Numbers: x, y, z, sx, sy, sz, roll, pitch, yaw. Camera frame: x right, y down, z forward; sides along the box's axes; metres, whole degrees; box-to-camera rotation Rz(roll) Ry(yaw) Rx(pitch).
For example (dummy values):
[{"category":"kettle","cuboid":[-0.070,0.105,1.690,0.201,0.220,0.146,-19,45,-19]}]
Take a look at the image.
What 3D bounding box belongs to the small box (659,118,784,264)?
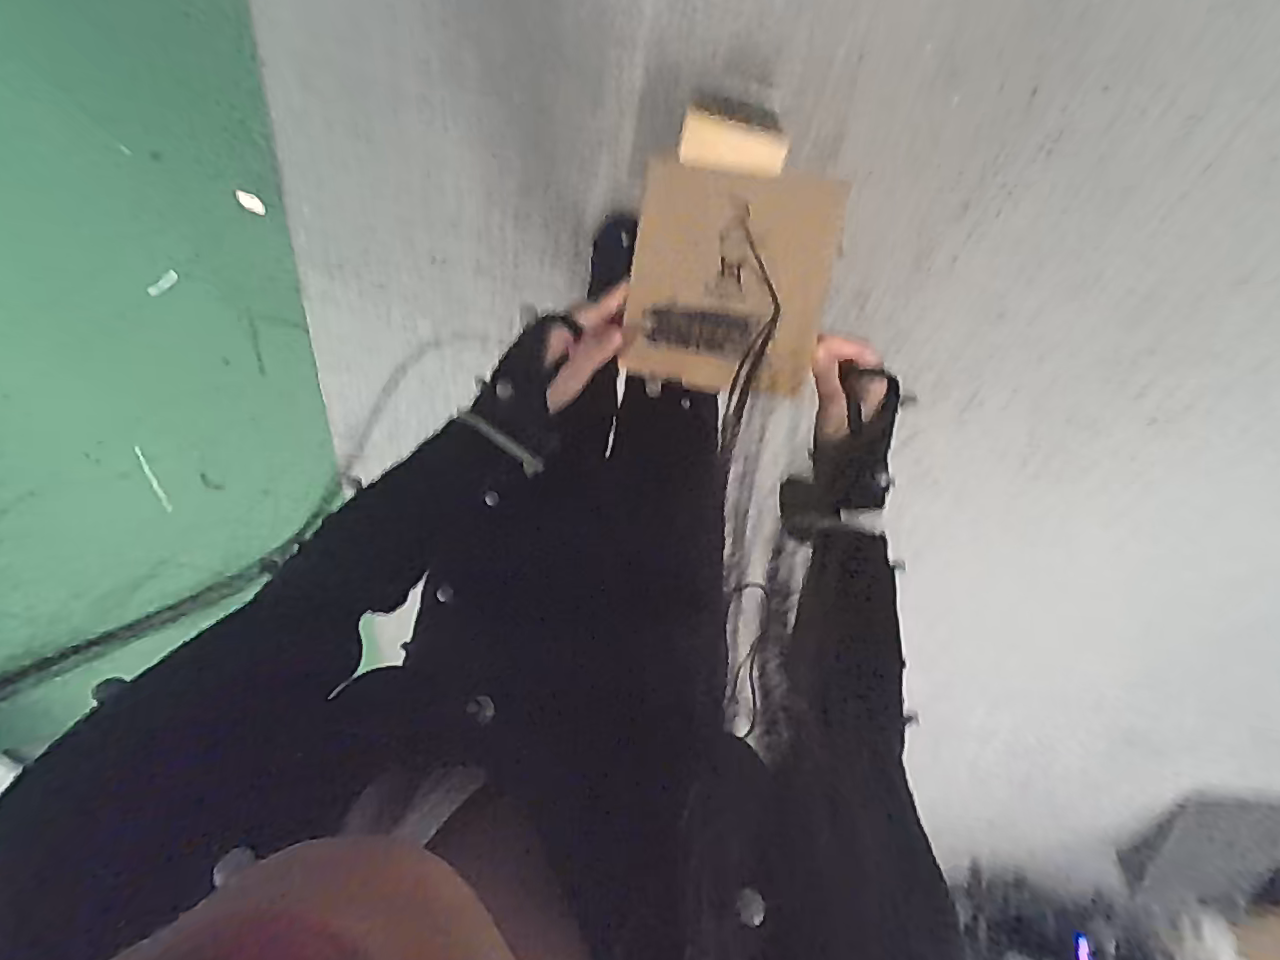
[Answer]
[{"category":"small box","cuboid":[0.138,-0.522,0.970,0.168,0.176,0.179,14,132,-5]}]
